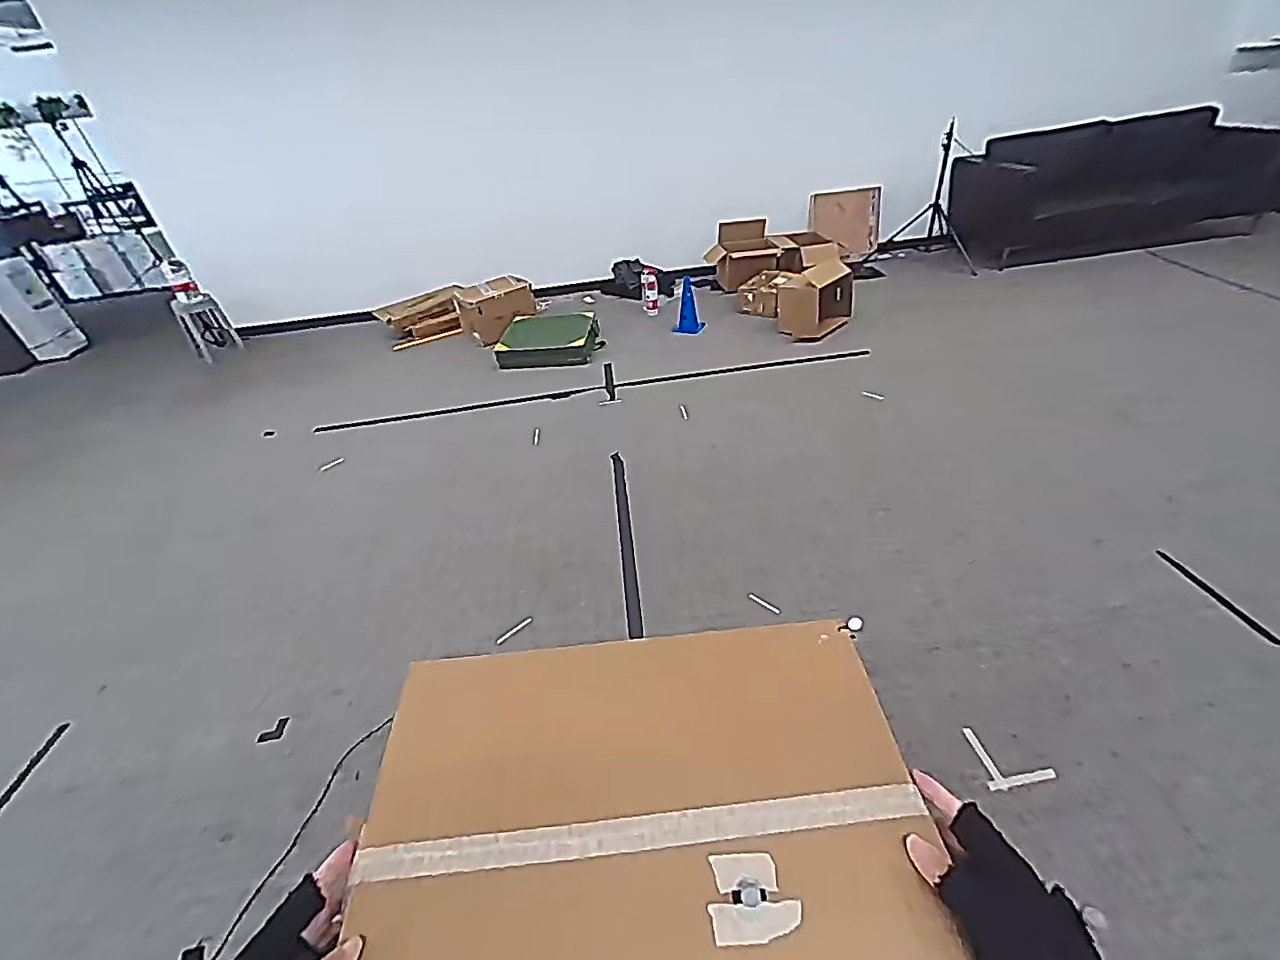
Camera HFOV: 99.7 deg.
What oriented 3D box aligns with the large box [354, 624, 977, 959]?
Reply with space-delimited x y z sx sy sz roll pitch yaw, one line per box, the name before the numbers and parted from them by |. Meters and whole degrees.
large box | 0.011 0.369 0.498 0.408 0.320 0.320 -5 42 -2
